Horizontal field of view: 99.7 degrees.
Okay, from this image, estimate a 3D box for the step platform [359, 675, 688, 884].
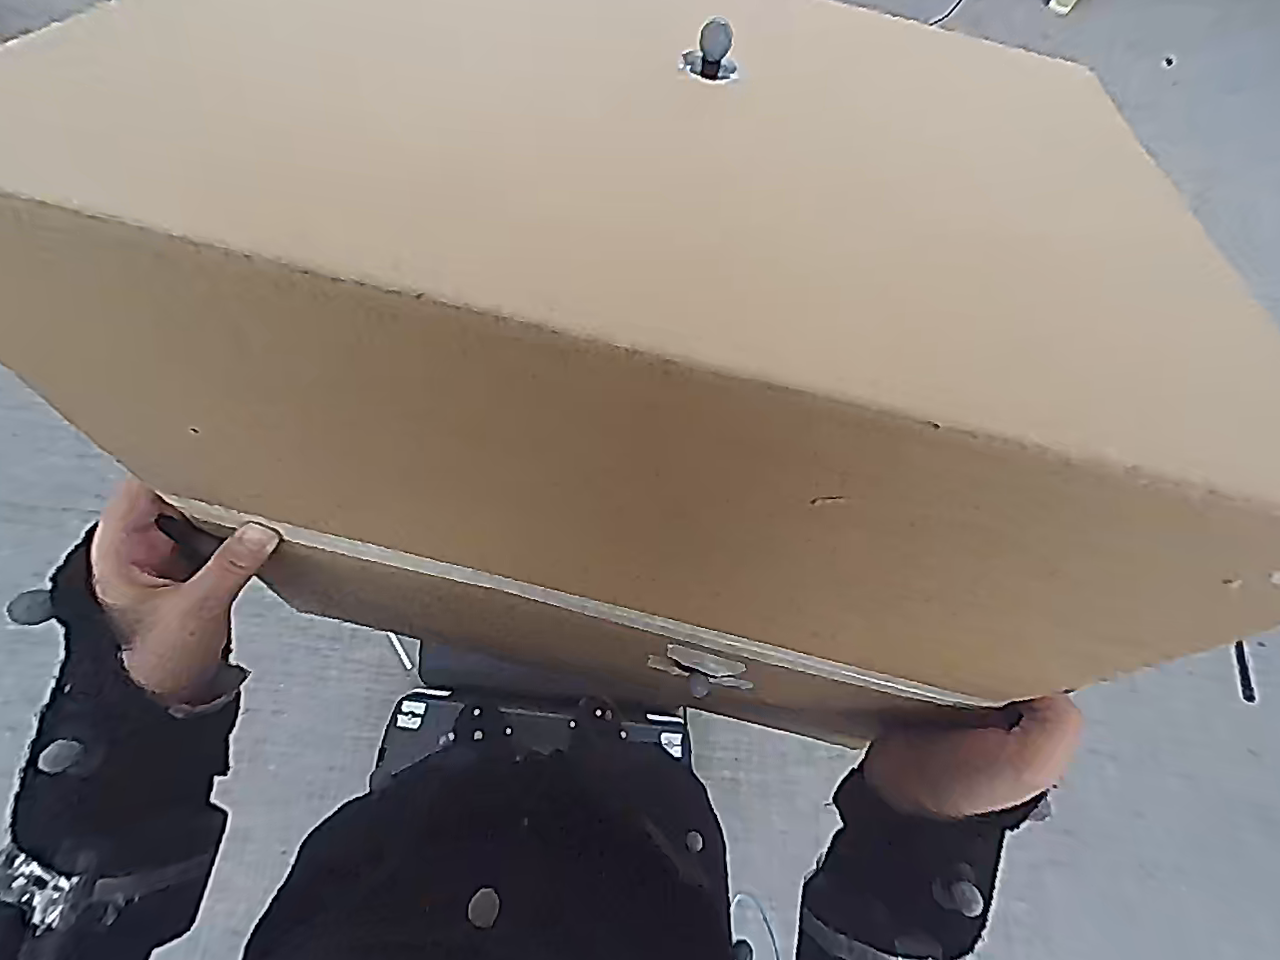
[{"bbox_3d":[-0.238,0.647,1.200,0.684,0.204,0.286,12,71,1],"label":"step platform"}]
